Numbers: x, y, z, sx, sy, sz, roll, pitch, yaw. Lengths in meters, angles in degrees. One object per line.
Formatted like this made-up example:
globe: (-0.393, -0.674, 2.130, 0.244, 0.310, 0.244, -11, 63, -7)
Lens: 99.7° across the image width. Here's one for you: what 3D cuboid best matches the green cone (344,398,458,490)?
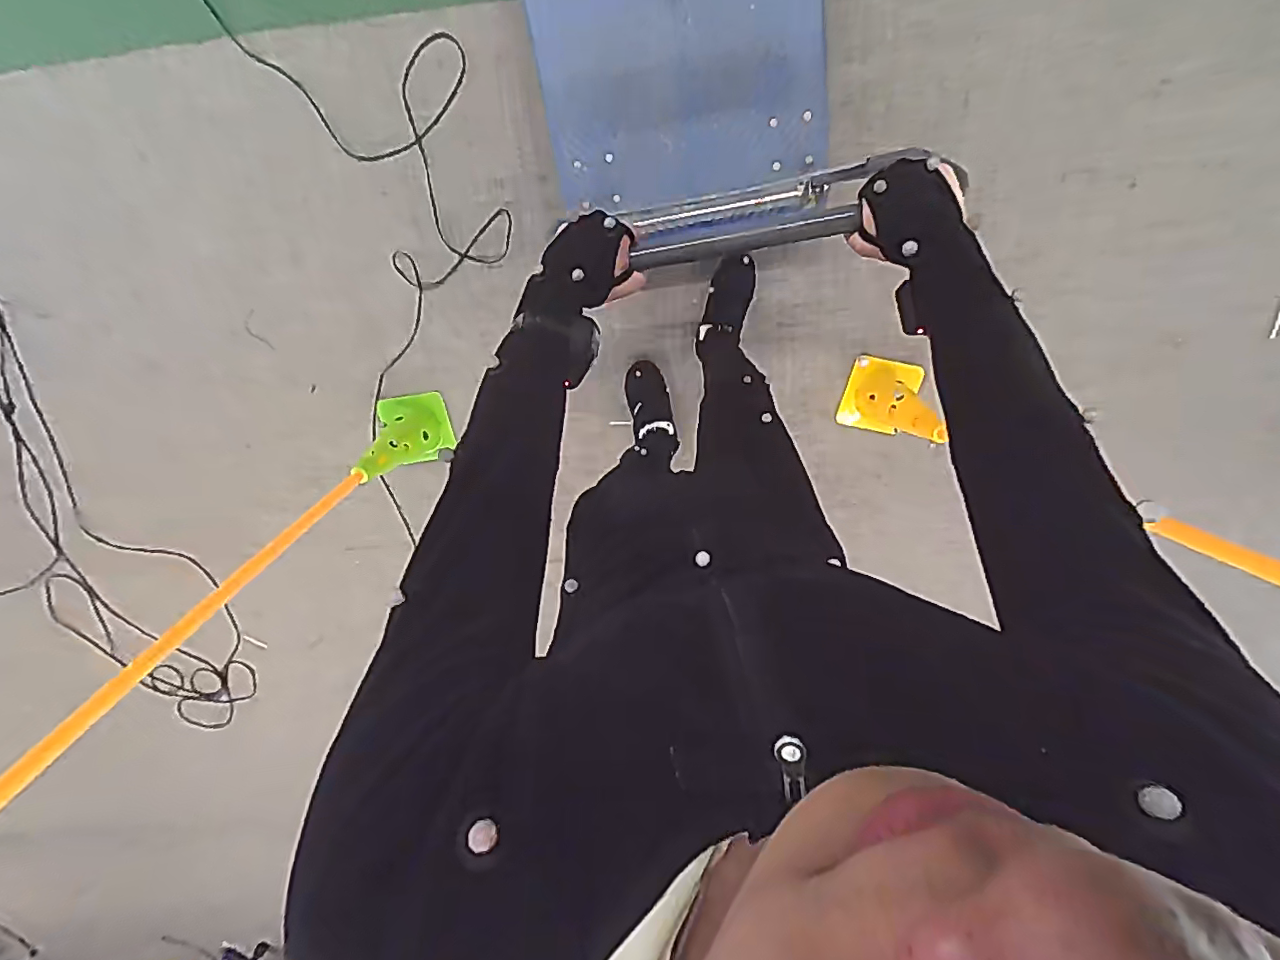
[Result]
green cone: (-0.655, -0.068, 1.418, 0.202, 0.368, 0.200, -8, 112, 7)
